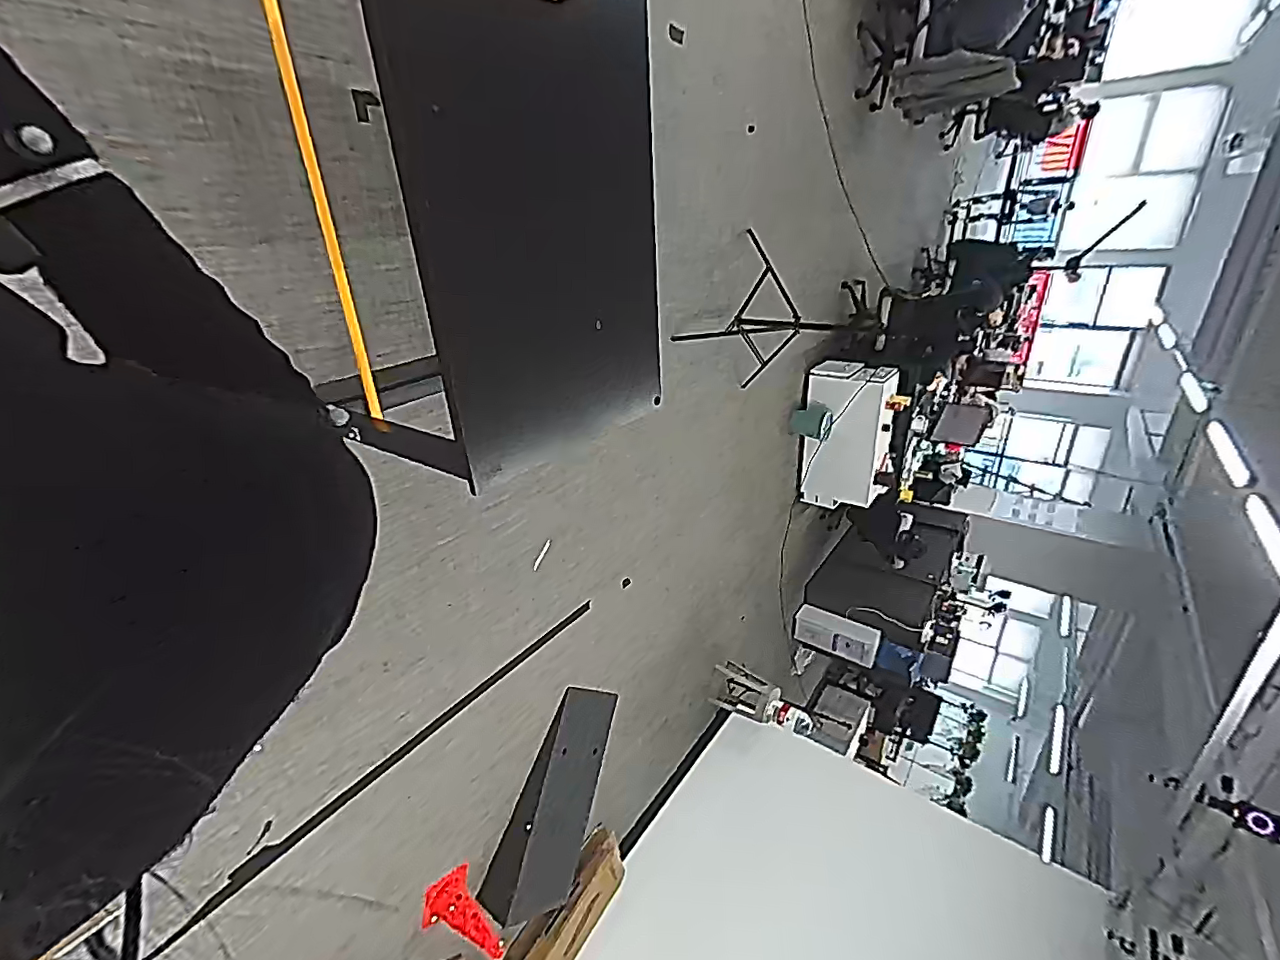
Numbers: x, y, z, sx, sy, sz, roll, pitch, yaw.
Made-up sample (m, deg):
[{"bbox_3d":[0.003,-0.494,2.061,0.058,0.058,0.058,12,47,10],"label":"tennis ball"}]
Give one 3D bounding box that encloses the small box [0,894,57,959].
[{"bbox_3d":[-1.329,0.990,1.088,0.168,0.176,0.179,-31,126,-45],"label":"small box"}]
